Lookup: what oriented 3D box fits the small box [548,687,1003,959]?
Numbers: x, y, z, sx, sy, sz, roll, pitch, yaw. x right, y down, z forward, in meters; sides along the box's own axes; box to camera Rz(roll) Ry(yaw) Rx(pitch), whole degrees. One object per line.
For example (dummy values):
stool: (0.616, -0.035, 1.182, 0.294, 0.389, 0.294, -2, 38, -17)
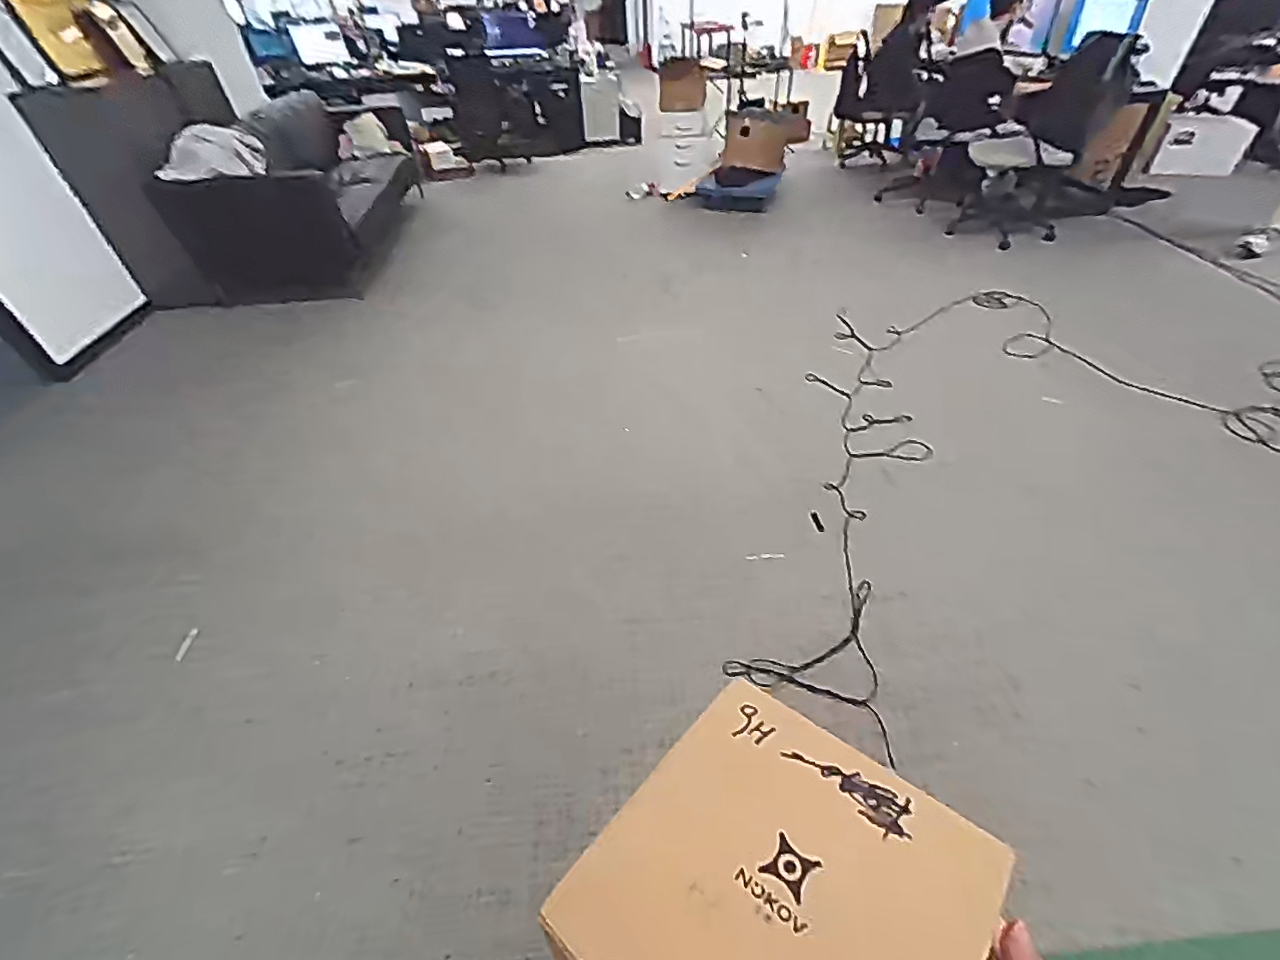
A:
small box: (0.076, 0.272, 0.315, 0.168, 0.176, 0.179, 23, 42, 36)
